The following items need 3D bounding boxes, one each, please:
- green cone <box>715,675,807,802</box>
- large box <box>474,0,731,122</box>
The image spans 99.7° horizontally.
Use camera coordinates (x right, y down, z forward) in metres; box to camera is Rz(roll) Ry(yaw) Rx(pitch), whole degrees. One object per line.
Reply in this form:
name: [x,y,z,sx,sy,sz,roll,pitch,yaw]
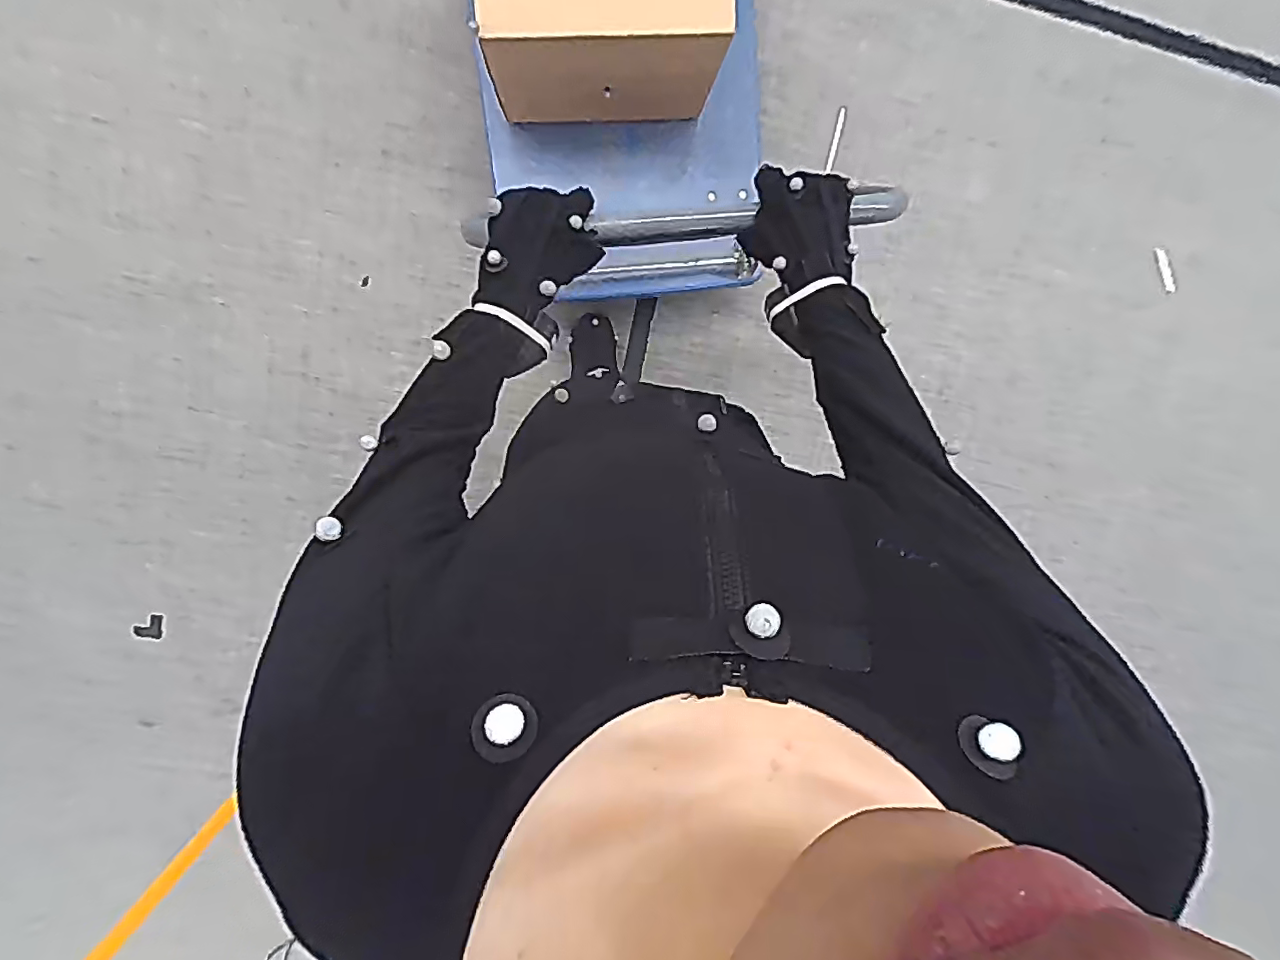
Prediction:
green cone: [0.361,0.731,1.483,0.202,0.368,0.200,14,100,-9]
large box: [-0.071,-0.872,0.958,0.408,0.320,0.320,-4,102,-4]
